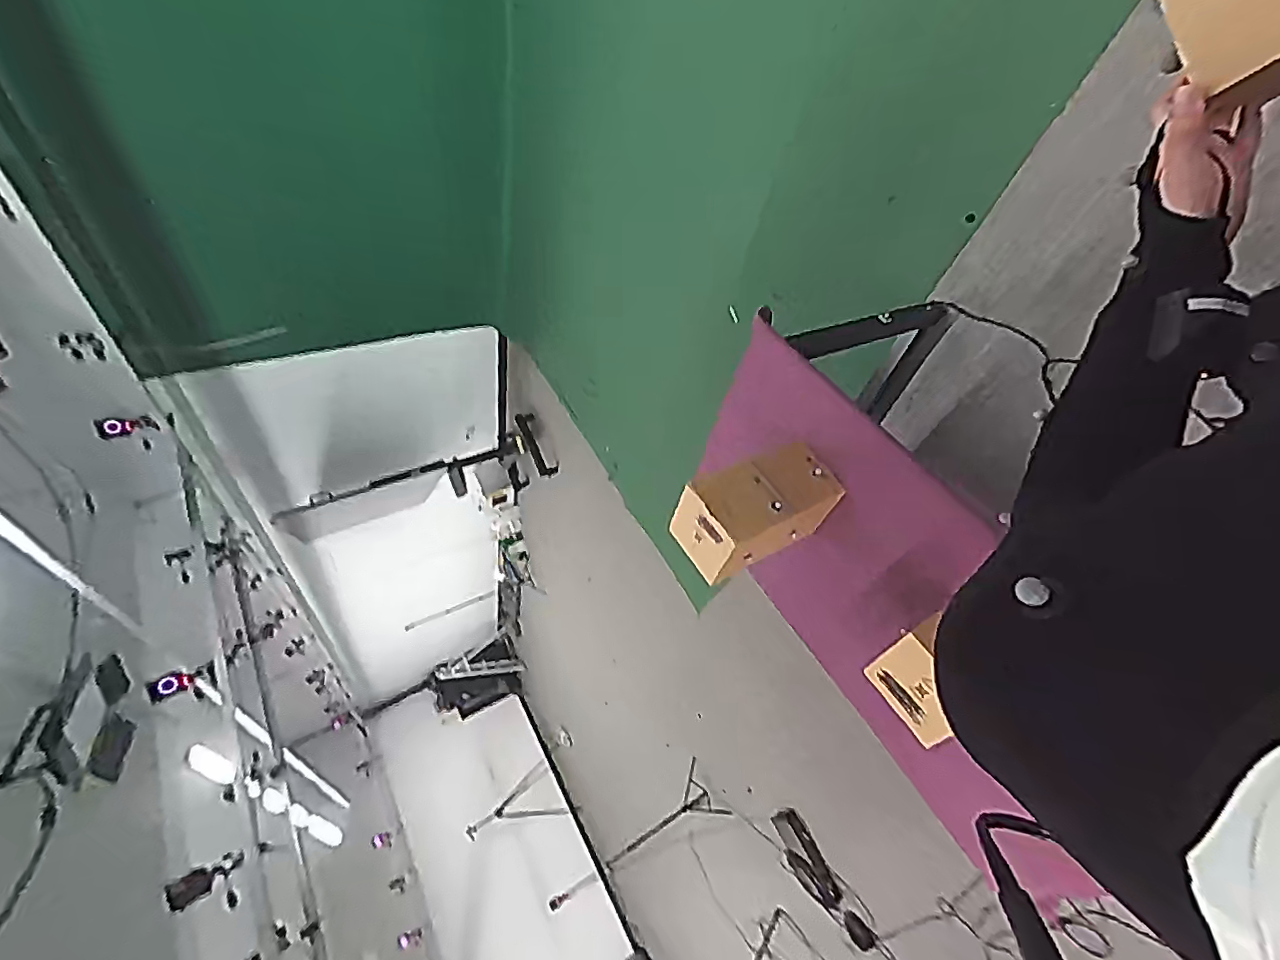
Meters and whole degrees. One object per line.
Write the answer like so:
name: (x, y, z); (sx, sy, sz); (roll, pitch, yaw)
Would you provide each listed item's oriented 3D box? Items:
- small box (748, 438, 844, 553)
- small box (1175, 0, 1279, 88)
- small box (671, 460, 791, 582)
small box: (0.330, 0.033, 1.239); (0.168, 0.176, 0.179); (54, 149, 26)
small box: (0.476, -0.398, 0.350); (0.168, 0.176, 0.179); (-17, 94, 61)
small box: (0.195, 0.083, 1.161); (0.168, 0.176, 0.179); (54, 150, 26)
